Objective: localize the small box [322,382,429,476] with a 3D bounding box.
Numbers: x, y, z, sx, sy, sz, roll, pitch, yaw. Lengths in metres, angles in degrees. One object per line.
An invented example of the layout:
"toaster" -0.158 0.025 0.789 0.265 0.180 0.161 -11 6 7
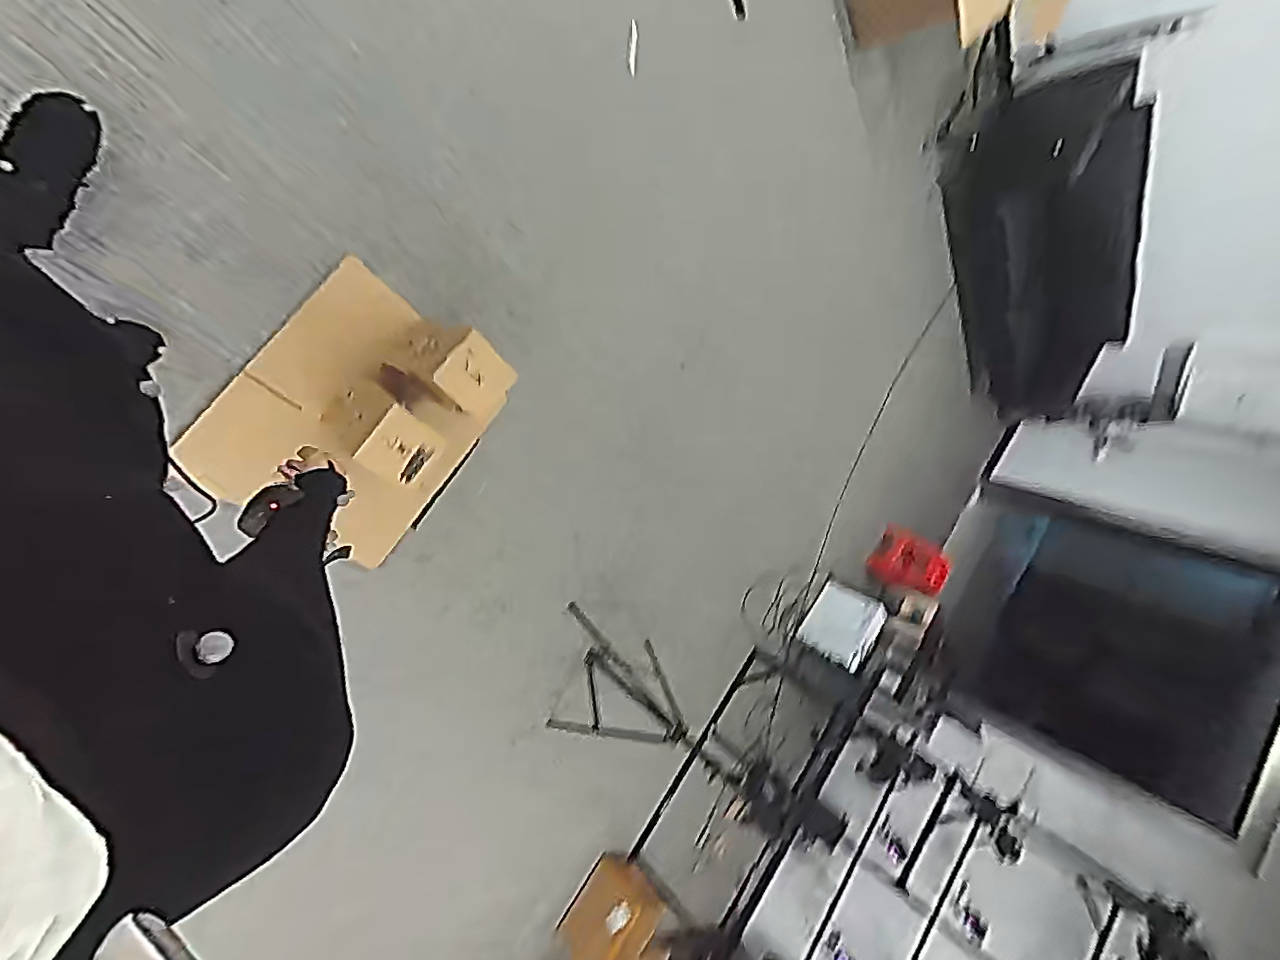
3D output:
"small box" -0.719 -0.144 1.468 0.168 0.176 0.179 -52 134 -13

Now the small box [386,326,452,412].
"small box" -0.579 -0.317 1.526 0.168 0.176 0.179 -54 133 -13

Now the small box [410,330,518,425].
"small box" -0.462 -0.274 1.418 0.168 0.176 0.179 -53 134 -14
